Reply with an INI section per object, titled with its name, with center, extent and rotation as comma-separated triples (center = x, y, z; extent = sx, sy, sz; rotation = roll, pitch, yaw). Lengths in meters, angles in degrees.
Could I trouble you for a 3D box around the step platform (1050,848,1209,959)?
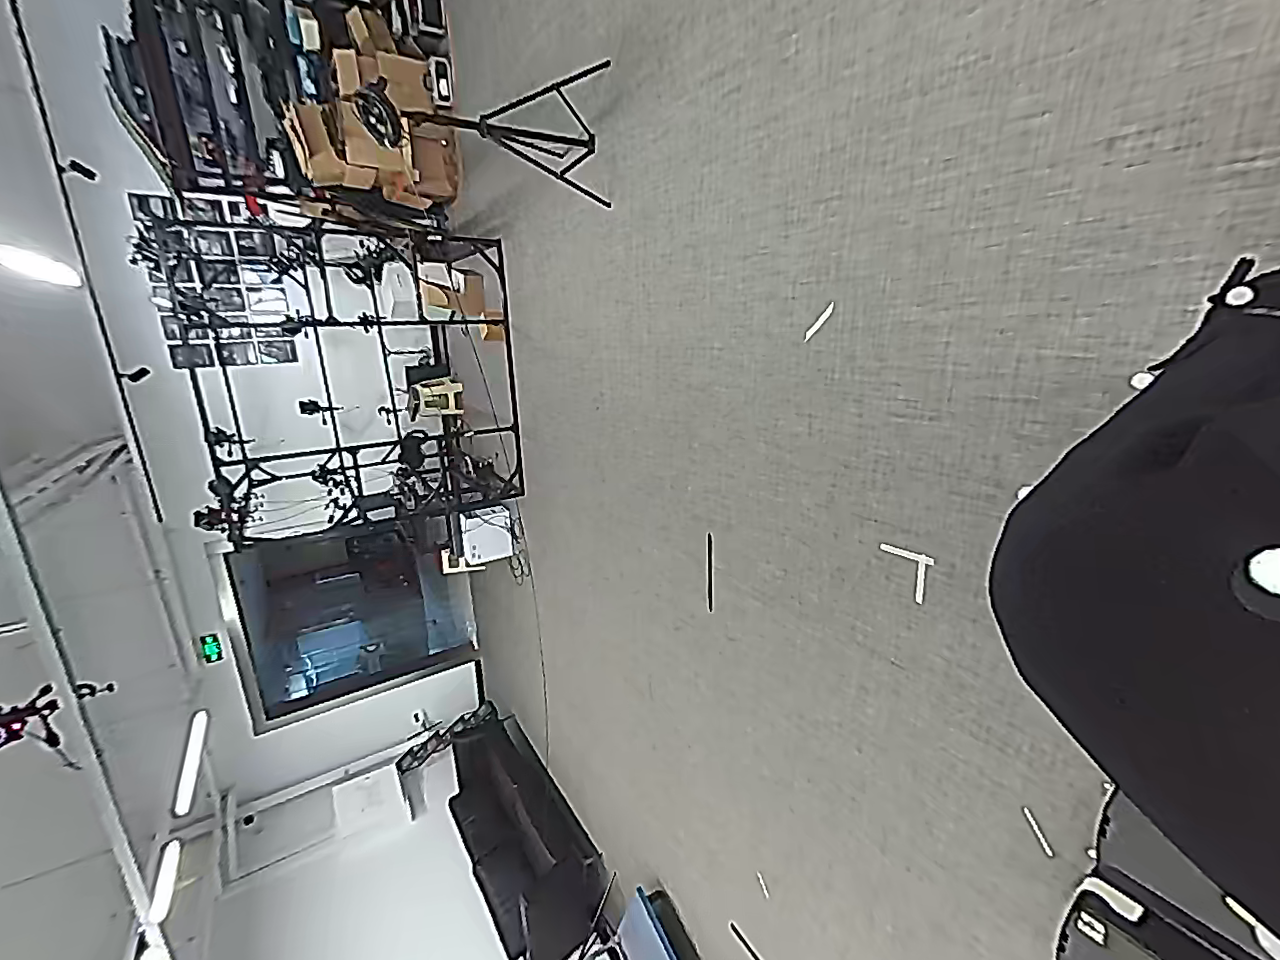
[step platform]
center = 1.242, 1.125, 1.076
extent = 0.684, 0.204, 0.286
rotation = 23, 119, 57
